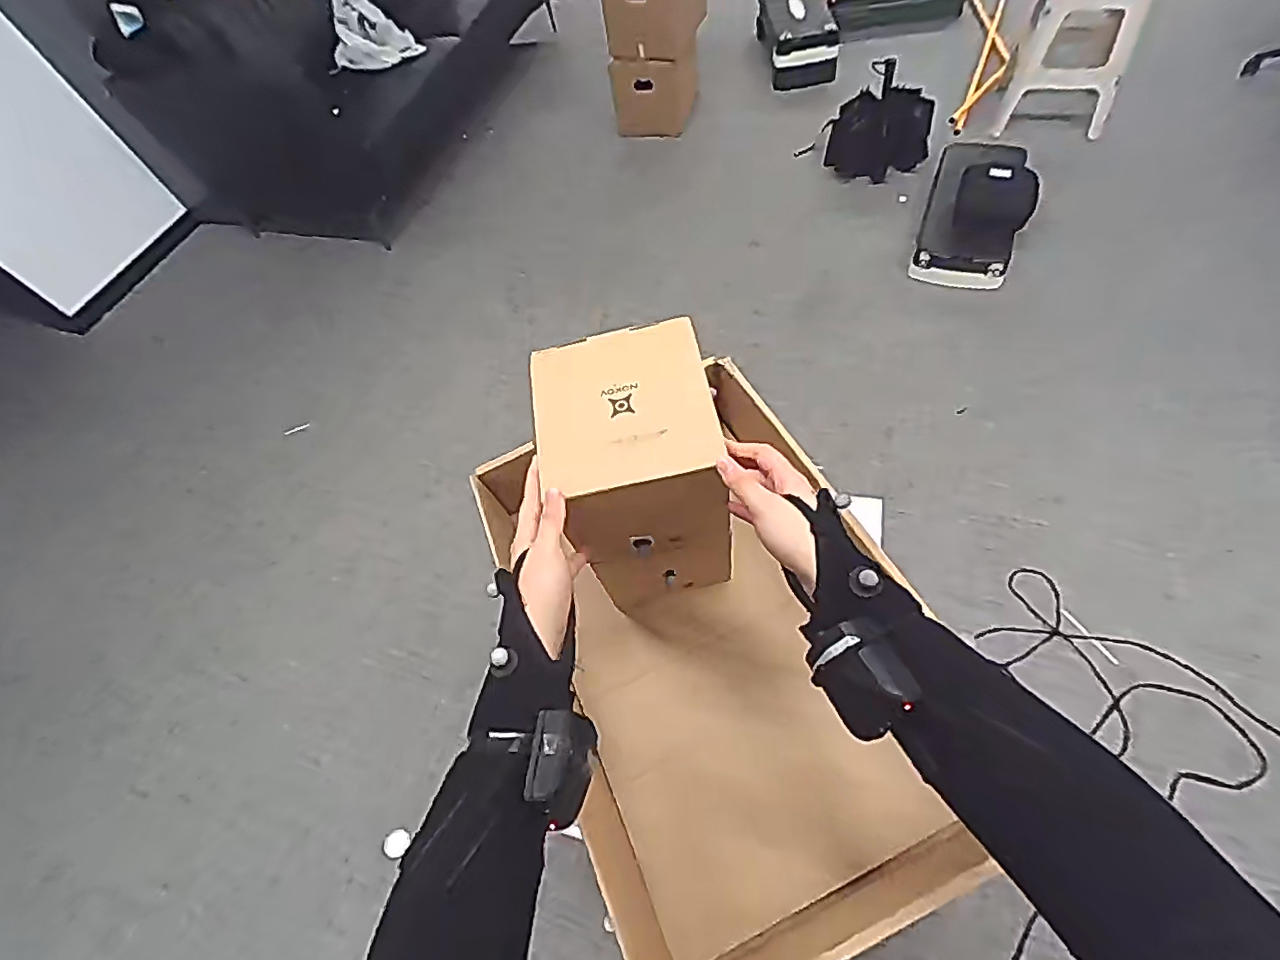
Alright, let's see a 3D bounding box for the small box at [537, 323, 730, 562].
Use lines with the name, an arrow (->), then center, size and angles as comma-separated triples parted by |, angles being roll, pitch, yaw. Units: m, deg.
small box -> -0.004, -0.032, 0.580 | 0.168, 0.176, 0.179 | -12, 61, 3
